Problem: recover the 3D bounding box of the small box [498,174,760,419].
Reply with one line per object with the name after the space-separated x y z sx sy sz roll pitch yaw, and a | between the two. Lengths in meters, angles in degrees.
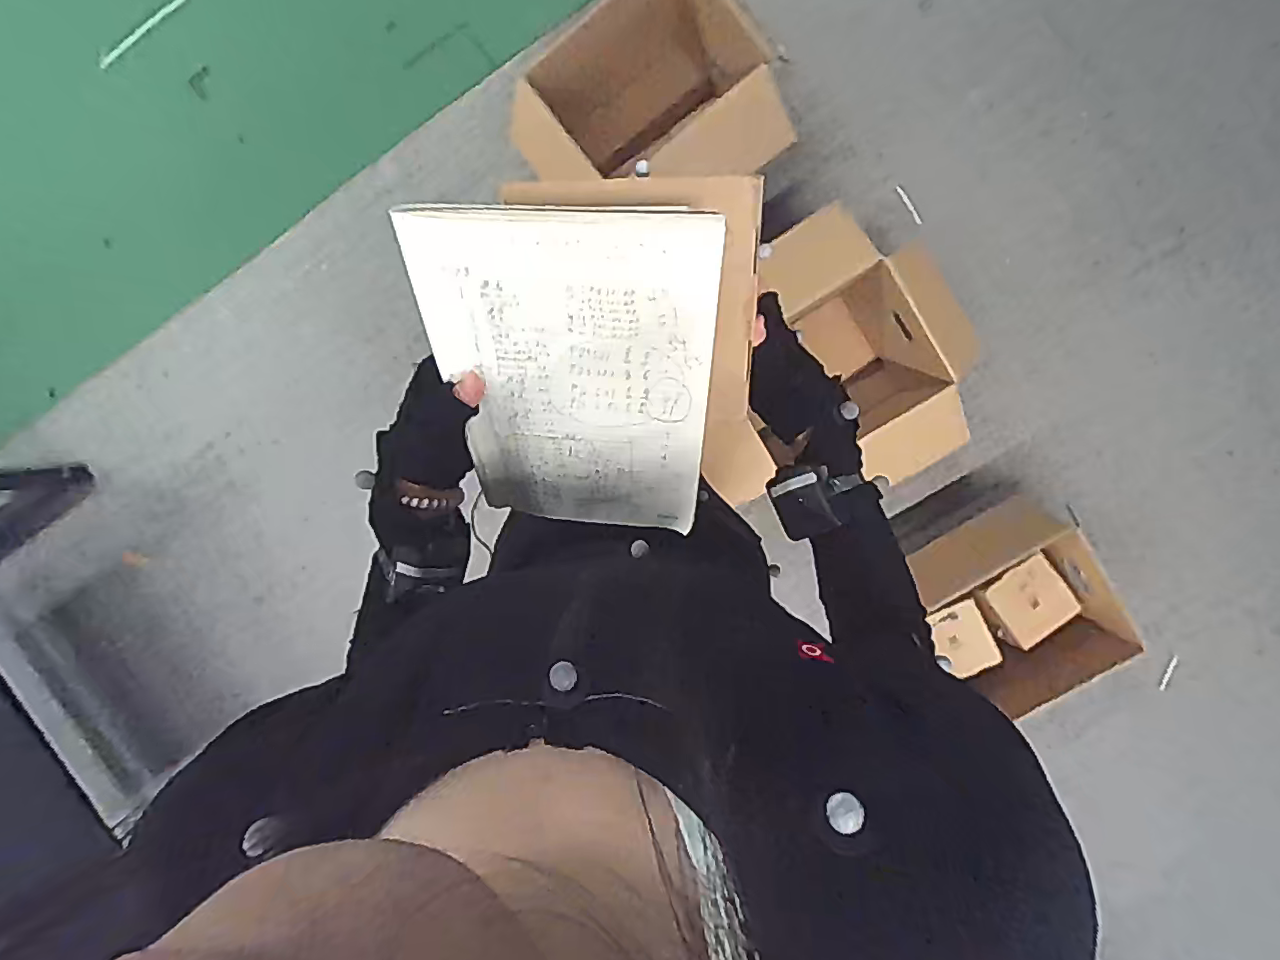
-0.002 -0.155 0.455 0.179 0.176 0.168 2 112 6 | small box
